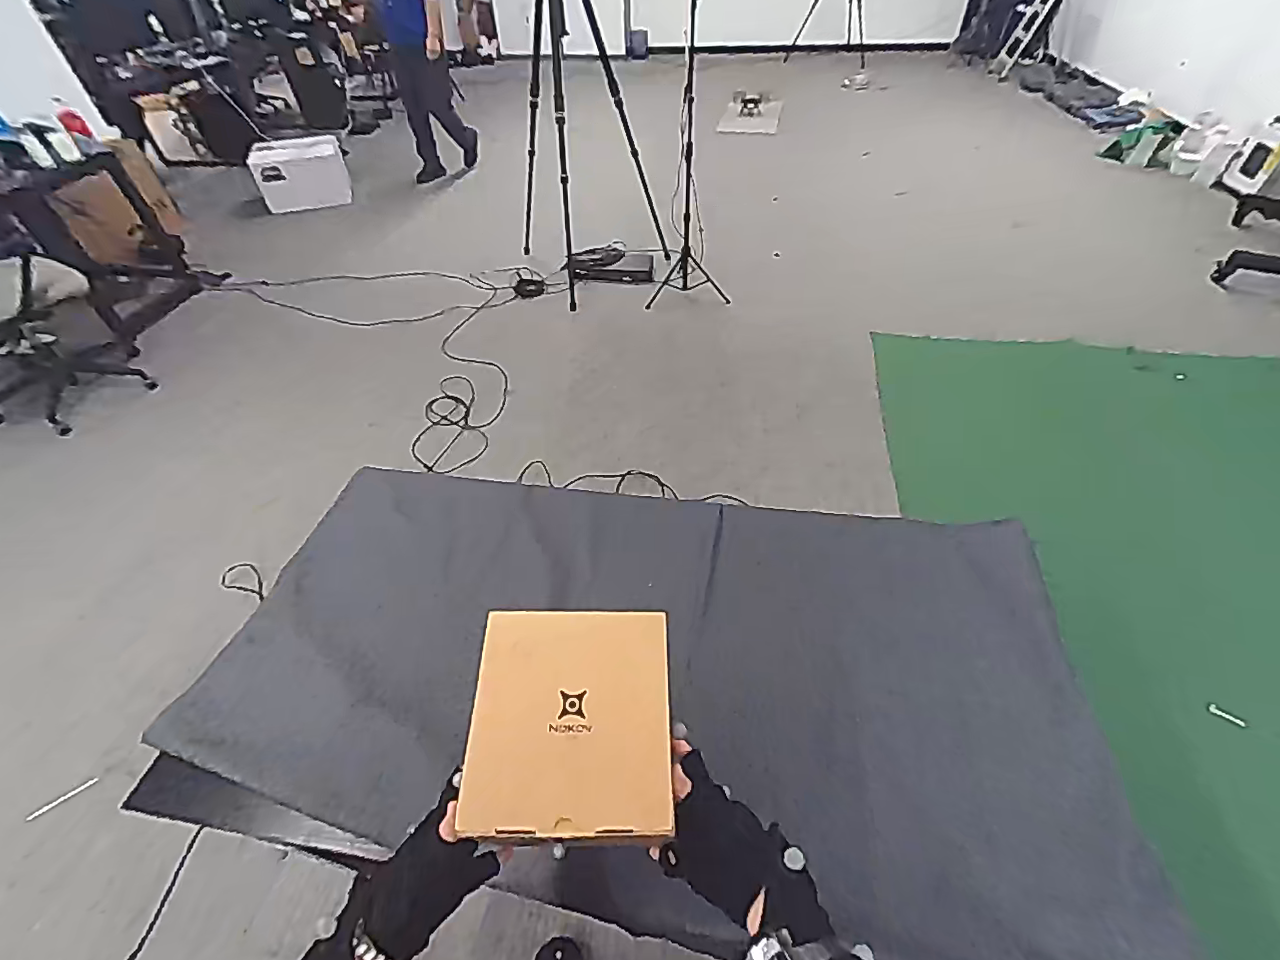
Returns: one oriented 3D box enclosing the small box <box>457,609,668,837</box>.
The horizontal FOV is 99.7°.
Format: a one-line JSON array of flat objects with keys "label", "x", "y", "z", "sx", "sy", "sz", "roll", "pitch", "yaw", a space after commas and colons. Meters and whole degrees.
[{"label": "small box", "x": -0.064, "y": 0.241, "z": 0.529, "sx": 0.168, "sy": 0.176, "sz": 0.179, "roll": 2, "pitch": 56, "yaw": -2}]
